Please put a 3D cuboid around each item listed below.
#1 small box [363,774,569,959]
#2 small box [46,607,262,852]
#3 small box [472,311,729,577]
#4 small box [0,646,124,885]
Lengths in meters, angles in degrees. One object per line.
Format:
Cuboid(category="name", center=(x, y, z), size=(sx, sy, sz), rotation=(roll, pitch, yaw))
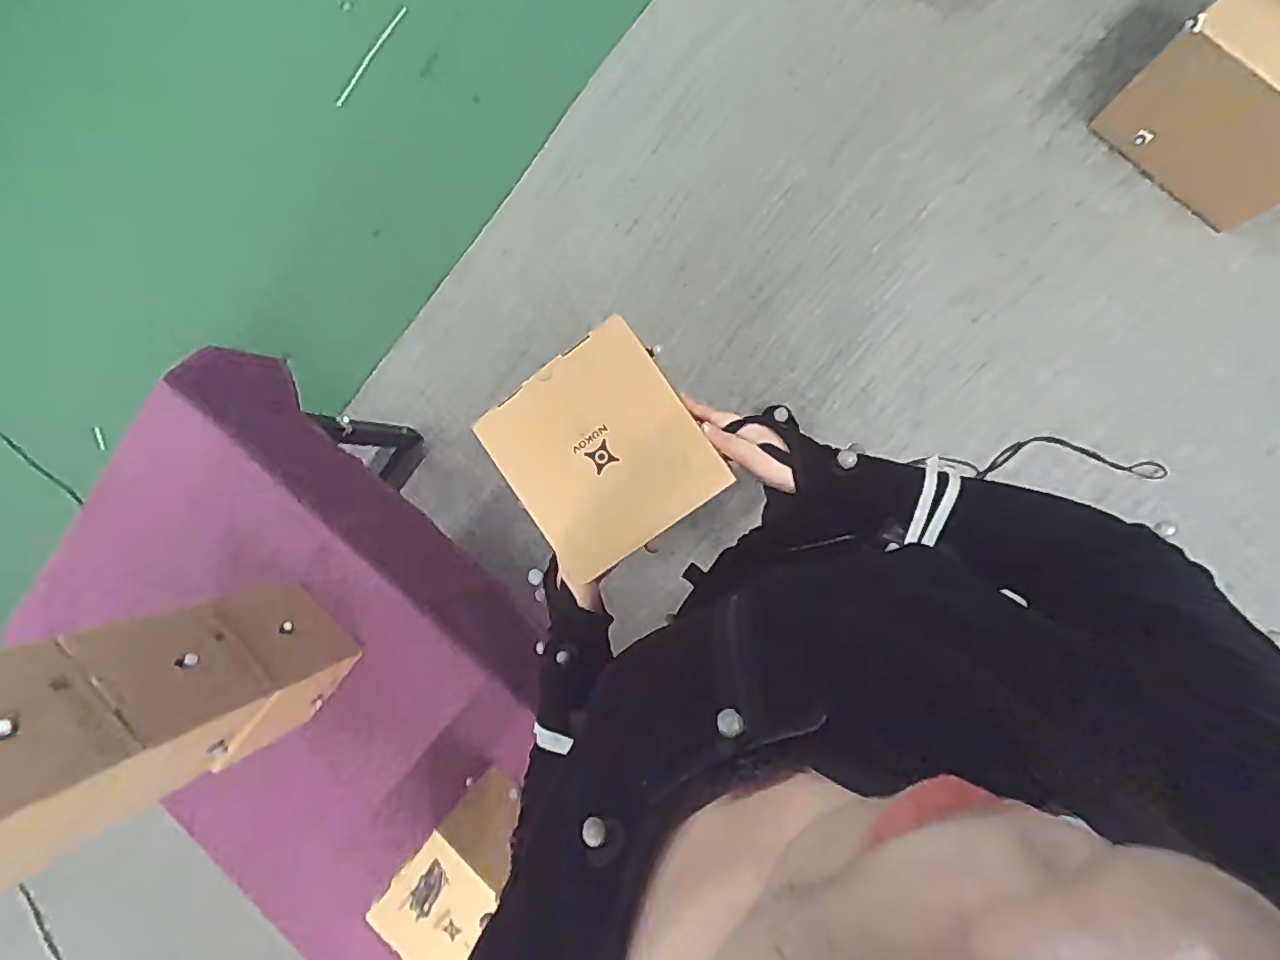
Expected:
Cuboid(category="small box", center=(-0.230, 0.551, 0.754), size=(0.179, 0.176, 0.168), rotation=(40, 97, 7))
Cuboid(category="small box", center=(-0.609, 0.281, 0.655), size=(0.168, 0.176, 0.179), rotation=(45, 97, 7))
Cuboid(category="small box", center=(-0.024, -0.033, 0.541), size=(0.168, 0.176, 0.179), rotation=(-35, 86, 9))
Cuboid(category="small box", center=(-0.637, 0.283, 0.491), size=(0.168, 0.176, 0.179), rotation=(43, 98, 7))
